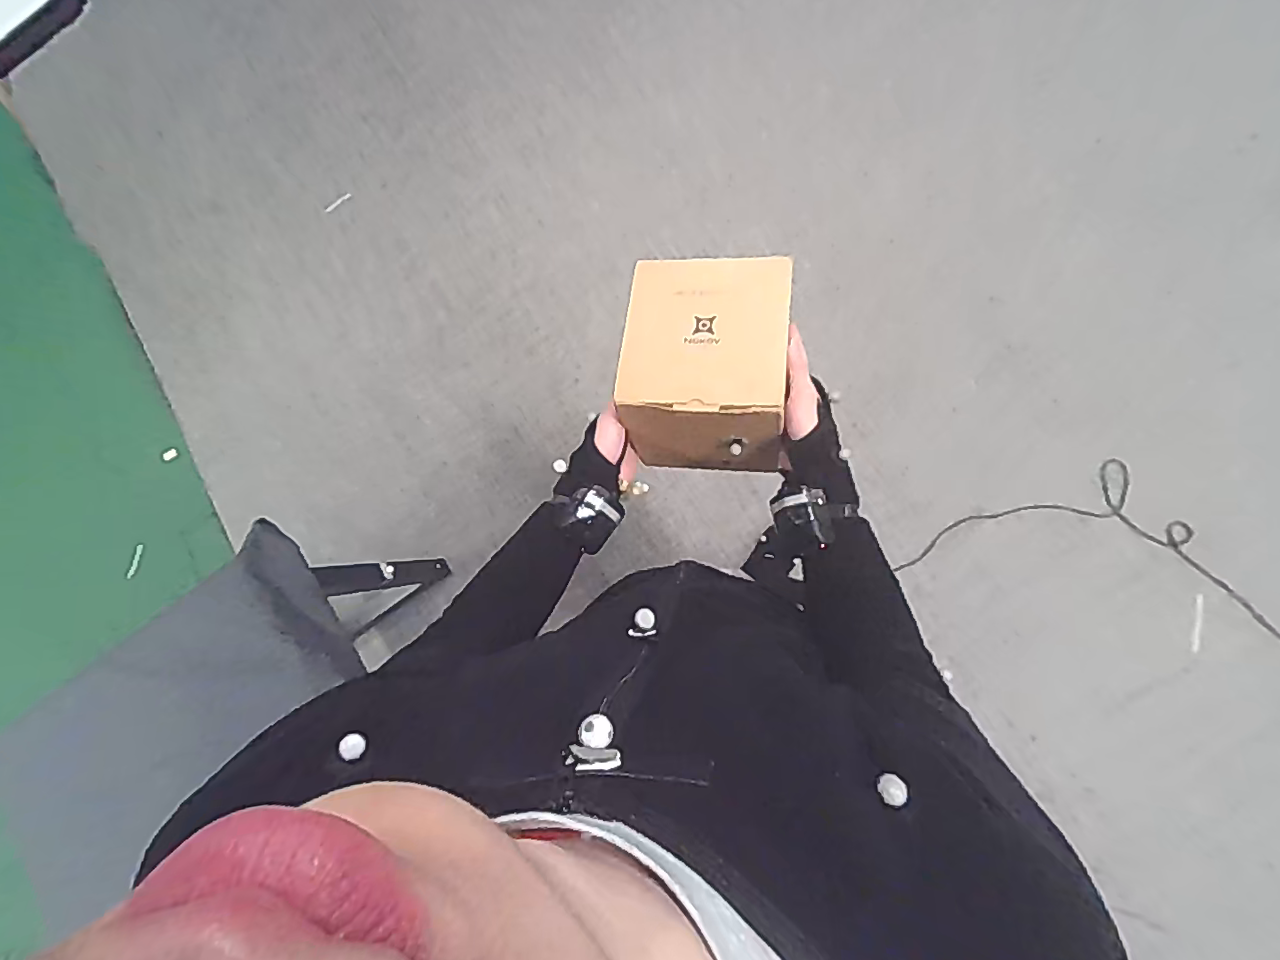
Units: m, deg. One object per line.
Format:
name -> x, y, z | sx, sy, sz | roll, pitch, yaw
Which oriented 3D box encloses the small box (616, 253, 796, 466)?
small box -> 0.081, -0.127, 0.610 | 0.168, 0.176, 0.179 | 4, 70, 12
